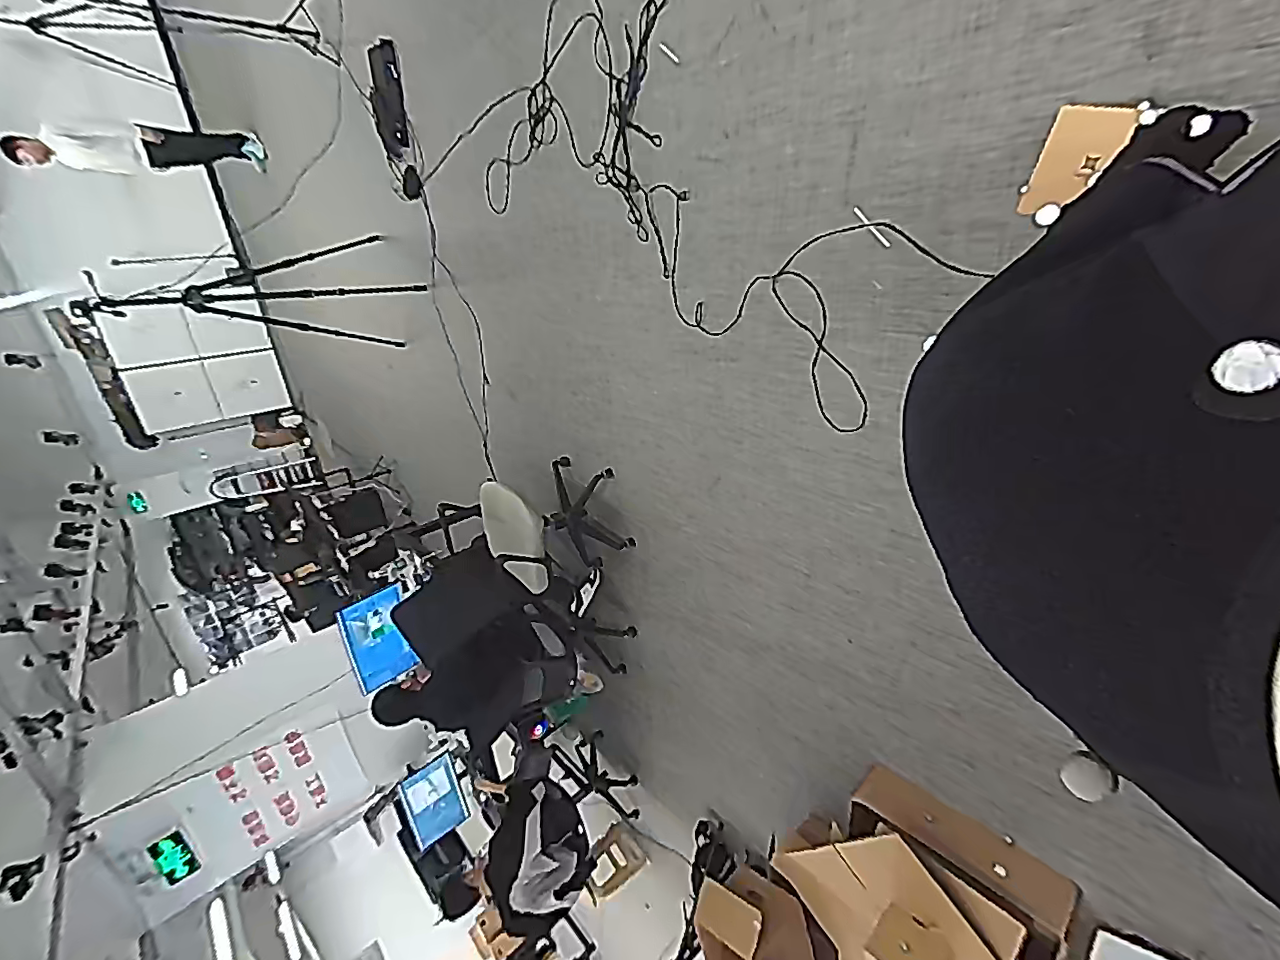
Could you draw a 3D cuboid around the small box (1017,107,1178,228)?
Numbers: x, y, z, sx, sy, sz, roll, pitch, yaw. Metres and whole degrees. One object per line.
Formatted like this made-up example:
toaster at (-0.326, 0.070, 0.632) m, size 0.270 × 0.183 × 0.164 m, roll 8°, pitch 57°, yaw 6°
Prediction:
small box at (0.857, -0.583, 1.014) m, size 0.168 × 0.176 × 0.179 m, roll 33°, pitch 132°, yaw 36°
